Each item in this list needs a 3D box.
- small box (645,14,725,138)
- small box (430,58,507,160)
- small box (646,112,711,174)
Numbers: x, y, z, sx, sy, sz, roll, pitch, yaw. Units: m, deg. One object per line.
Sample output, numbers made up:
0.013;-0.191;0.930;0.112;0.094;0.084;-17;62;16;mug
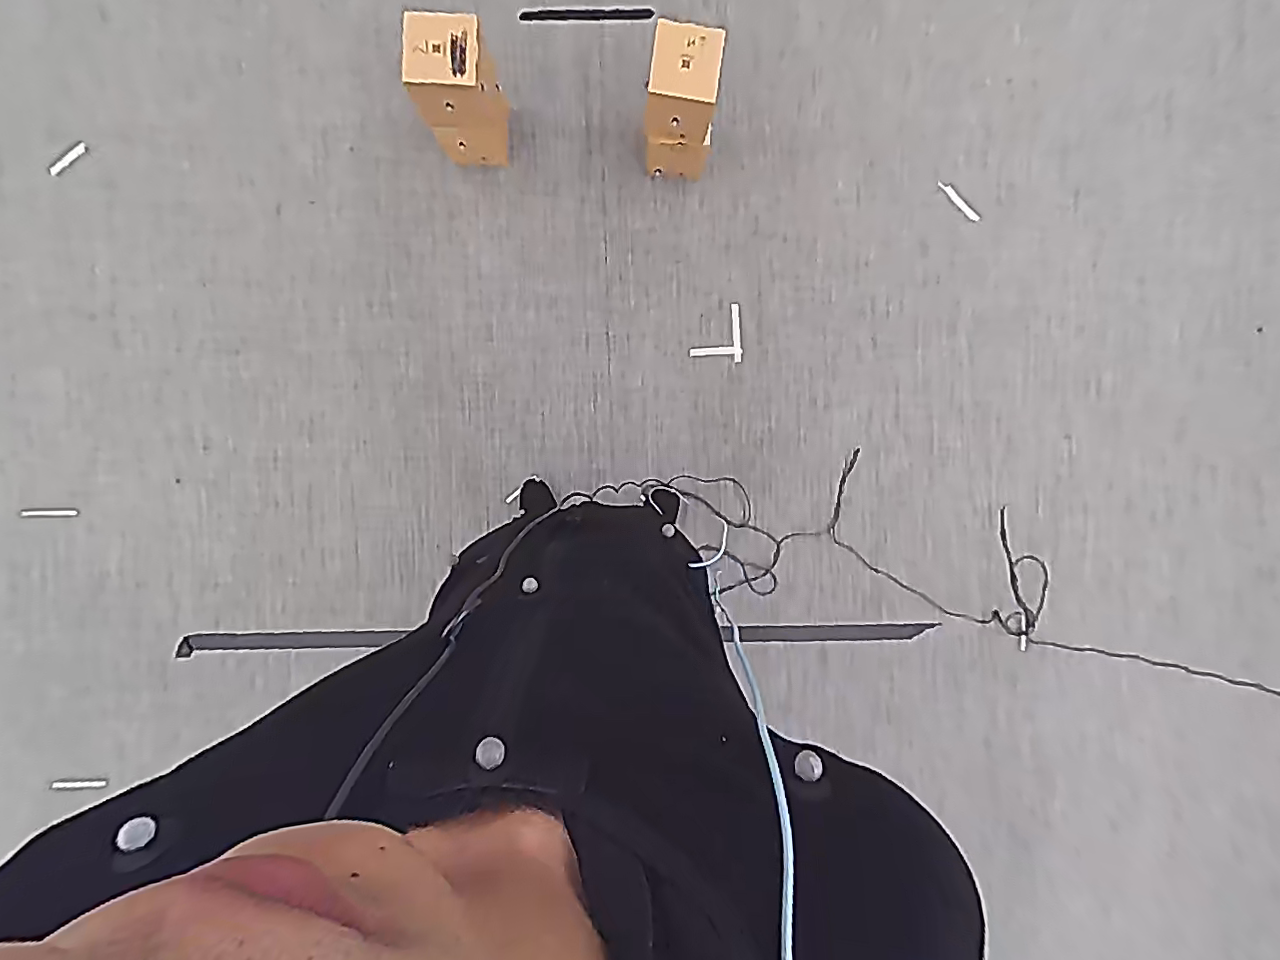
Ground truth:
0.105;-0.995;1.348;0.168;0.176;0.179;8;91;-3;small box
-0.468;-1.015;1.493;0.168;0.176;0.179;1;91;-2;small box
0.105;-0.988;1.513;0.168;0.176;0.179;2;91;-3;small box
